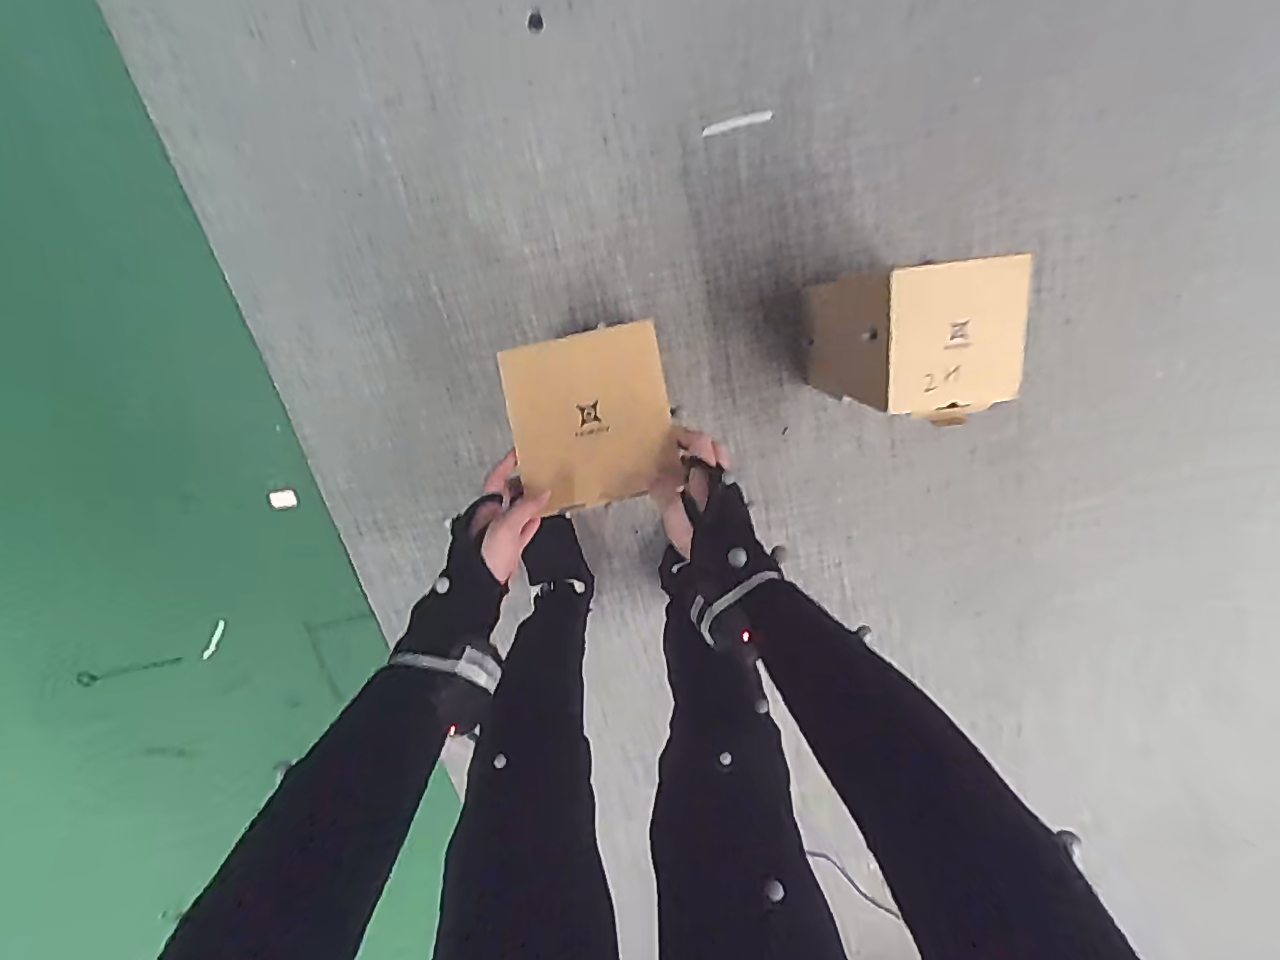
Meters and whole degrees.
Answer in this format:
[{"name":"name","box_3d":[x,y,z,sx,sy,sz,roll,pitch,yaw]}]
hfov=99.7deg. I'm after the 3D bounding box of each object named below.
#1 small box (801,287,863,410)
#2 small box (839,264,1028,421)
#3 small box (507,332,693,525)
[{"name":"small box","box_3d":[0.378,-0.230,0.897,0.168,0.176,0.179,-11,109,1]},{"name":"small box","box_3d":[0.383,-0.188,0.738,0.168,0.176,0.179,-6,108,1]},{"name":"small box","box_3d":[-0.039,-0.049,0.626,0.168,0.176,0.179,-11,88,2]}]
